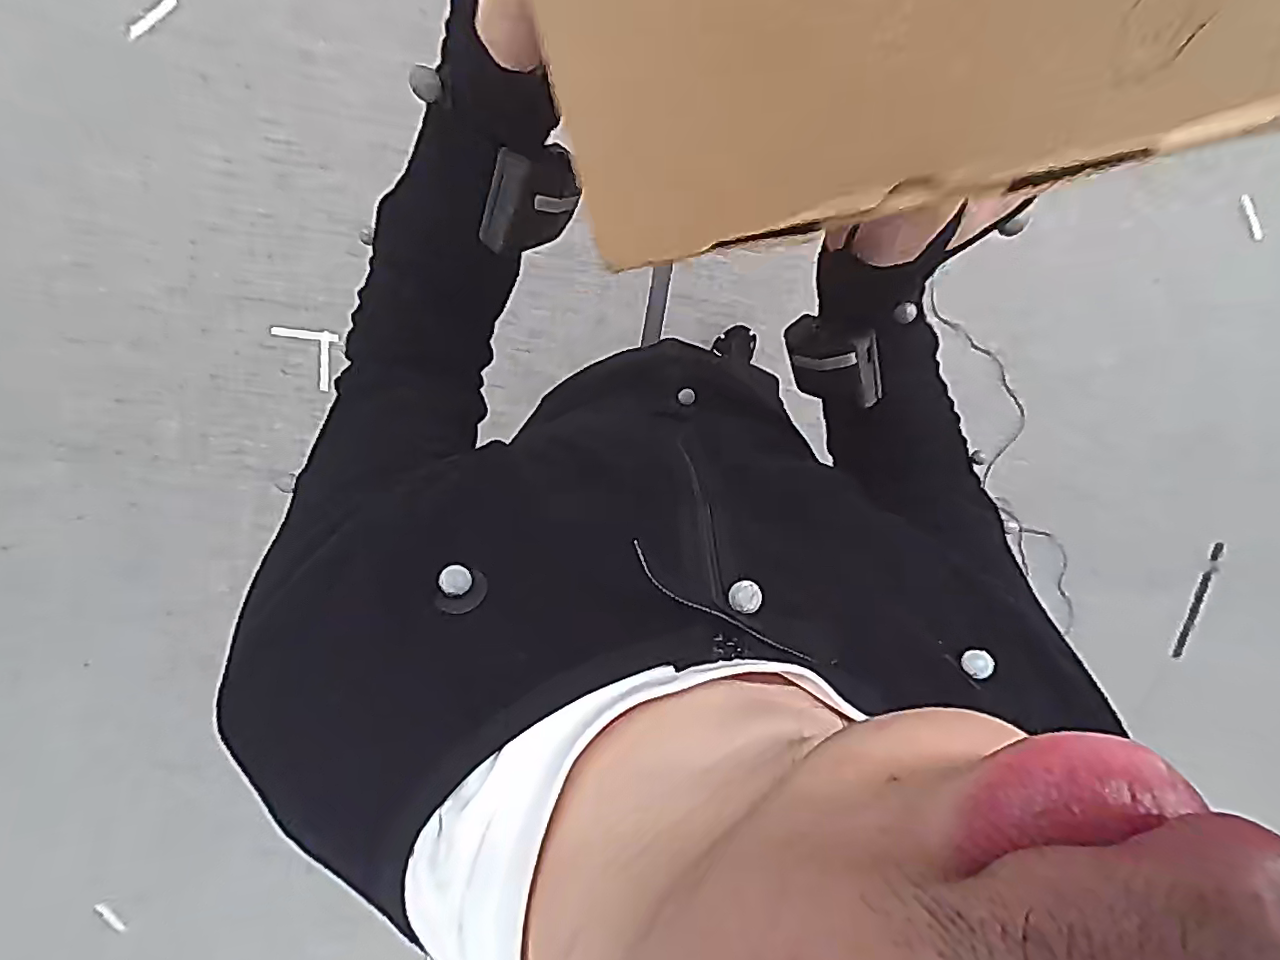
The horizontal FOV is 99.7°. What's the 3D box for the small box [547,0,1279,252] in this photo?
[{"bbox_3d":[0.058,-0.196,0.162,0.168,0.176,0.179,-9,125,13],"label":"small box"}]
